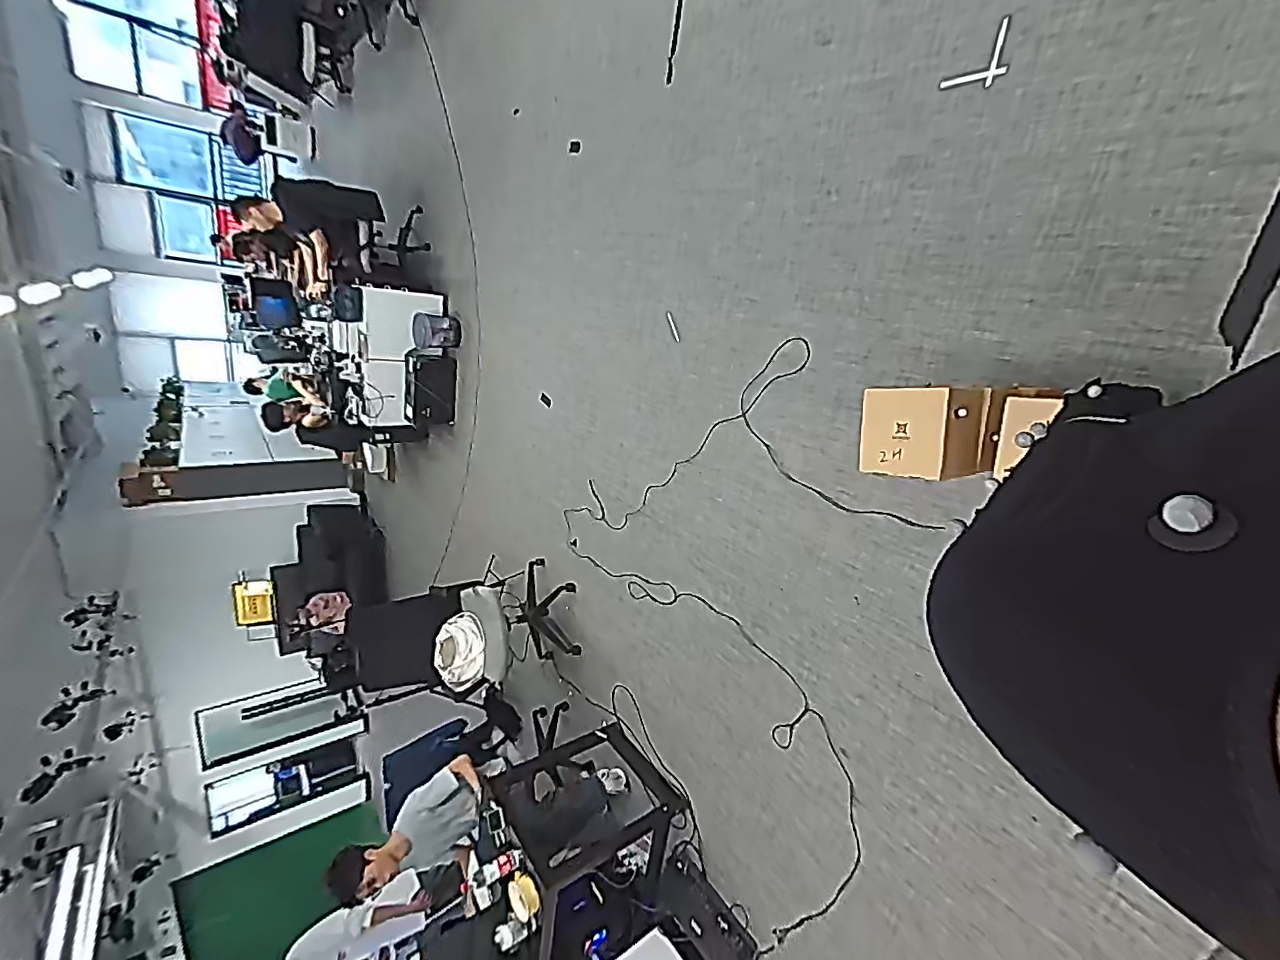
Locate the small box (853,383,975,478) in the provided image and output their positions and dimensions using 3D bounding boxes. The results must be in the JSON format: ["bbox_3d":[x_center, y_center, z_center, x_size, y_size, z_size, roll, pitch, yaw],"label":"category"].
[{"bbox_3d":[0.564,-0.106,1.109,0.168,0.176,0.179,12,104,50],"label":"small box"}]

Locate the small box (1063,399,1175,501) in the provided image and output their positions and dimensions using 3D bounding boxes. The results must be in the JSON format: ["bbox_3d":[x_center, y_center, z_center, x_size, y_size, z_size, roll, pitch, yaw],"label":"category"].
[{"bbox_3d":[0.976,-0.068,1.130,0.168,0.176,0.179,25,115,47],"label":"small box"}]

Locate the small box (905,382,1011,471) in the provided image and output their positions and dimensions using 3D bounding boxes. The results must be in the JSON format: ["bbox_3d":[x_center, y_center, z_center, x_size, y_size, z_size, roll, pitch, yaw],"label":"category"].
[{"bbox_3d":[0.697,-0.124,1.205,0.168,0.176,0.179,16,106,49],"label":"small box"}]

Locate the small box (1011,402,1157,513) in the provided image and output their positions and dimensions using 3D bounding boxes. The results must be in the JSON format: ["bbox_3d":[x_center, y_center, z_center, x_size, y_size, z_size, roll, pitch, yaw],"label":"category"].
[{"bbox_3d":[0.848,-0.050,1.030,0.168,0.176,0.179,20,110,49],"label":"small box"}]

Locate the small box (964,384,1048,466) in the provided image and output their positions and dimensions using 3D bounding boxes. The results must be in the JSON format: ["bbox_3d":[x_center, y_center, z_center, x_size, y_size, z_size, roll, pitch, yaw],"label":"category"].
[{"bbox_3d":[0.841,-0.137,1.287,0.168,0.176,0.179,15,106,49],"label":"small box"}]
